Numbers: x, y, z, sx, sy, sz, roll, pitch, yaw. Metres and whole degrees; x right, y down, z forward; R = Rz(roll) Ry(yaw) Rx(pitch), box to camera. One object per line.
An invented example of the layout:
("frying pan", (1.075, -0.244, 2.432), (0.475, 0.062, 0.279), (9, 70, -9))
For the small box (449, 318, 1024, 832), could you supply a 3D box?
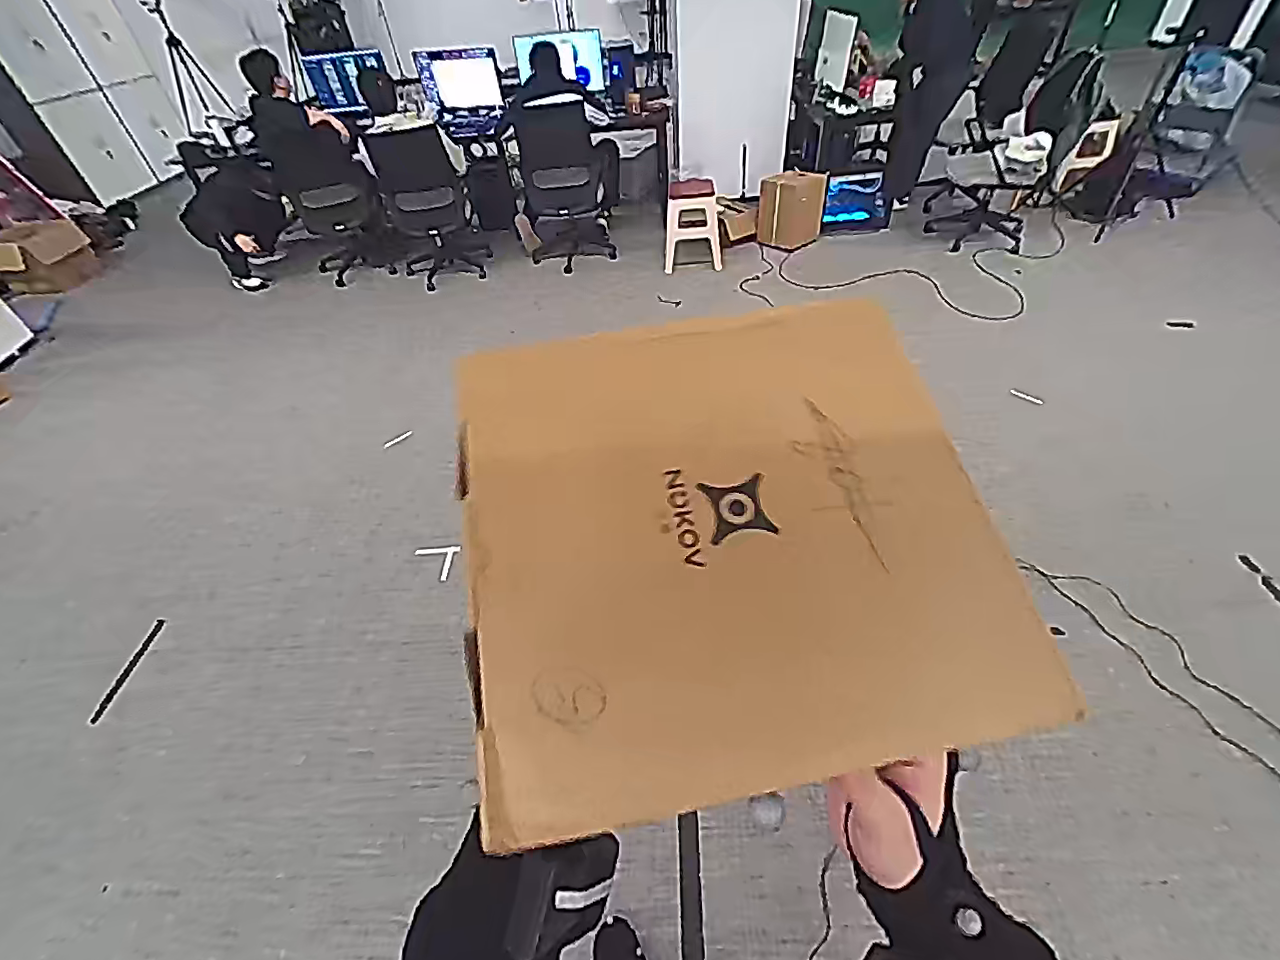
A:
("small box", (0.023, 0.052, 0.270), (0.179, 0.176, 0.168), (-12, 65, -6))
